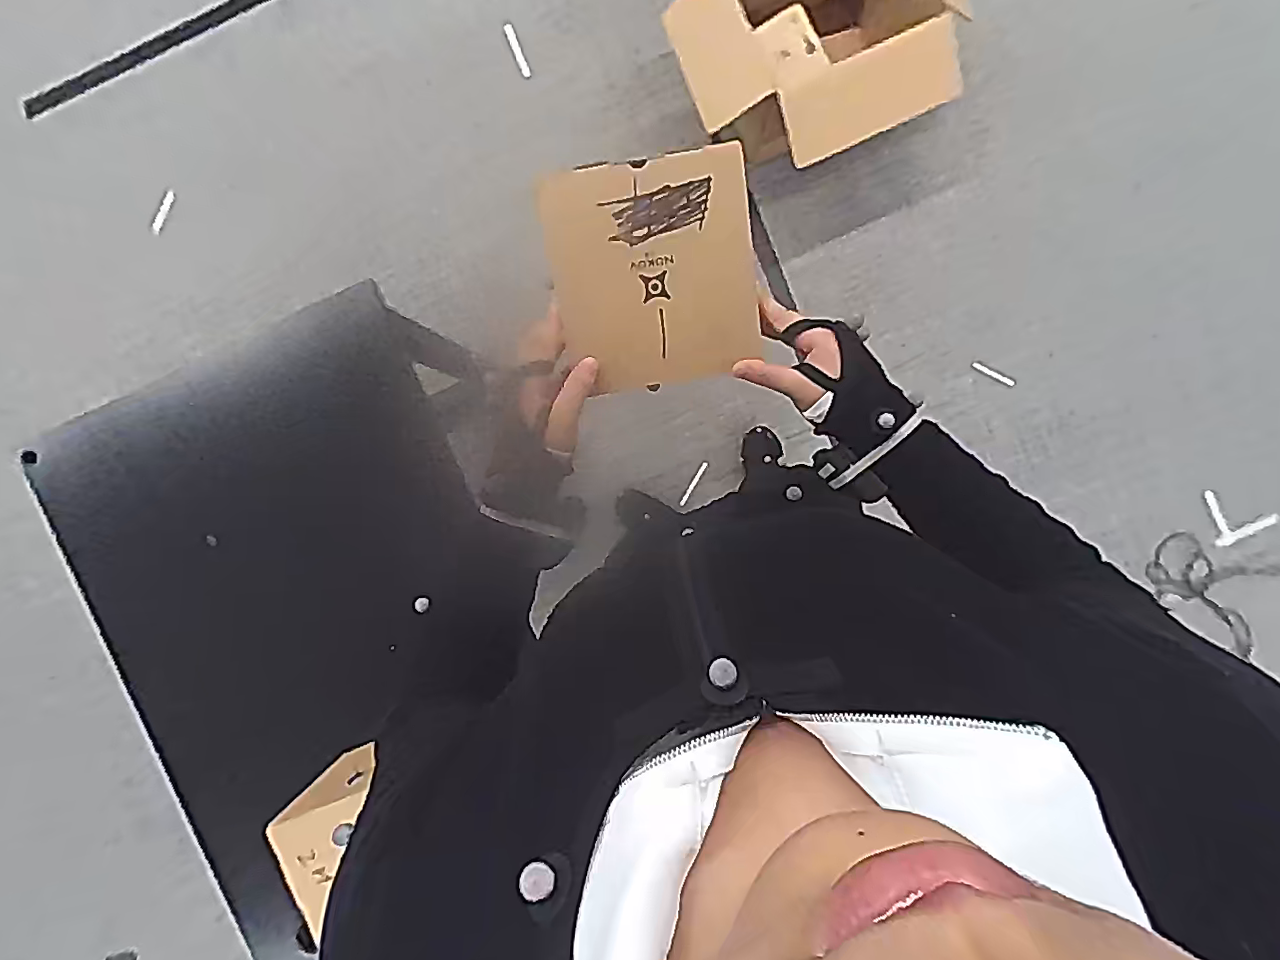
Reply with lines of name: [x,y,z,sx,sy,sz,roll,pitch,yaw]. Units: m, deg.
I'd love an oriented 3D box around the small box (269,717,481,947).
small box: [-0.333,0.453,0.725,0.179,0.176,0.168,-23,91,3]

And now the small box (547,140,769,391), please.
small box: [0.013,-0.189,0.514,0.168,0.176,0.179,-9,106,-1]

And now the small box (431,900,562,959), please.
small box: [-0.205,0.732,0.735,0.179,0.176,0.168,-29,90,4]
